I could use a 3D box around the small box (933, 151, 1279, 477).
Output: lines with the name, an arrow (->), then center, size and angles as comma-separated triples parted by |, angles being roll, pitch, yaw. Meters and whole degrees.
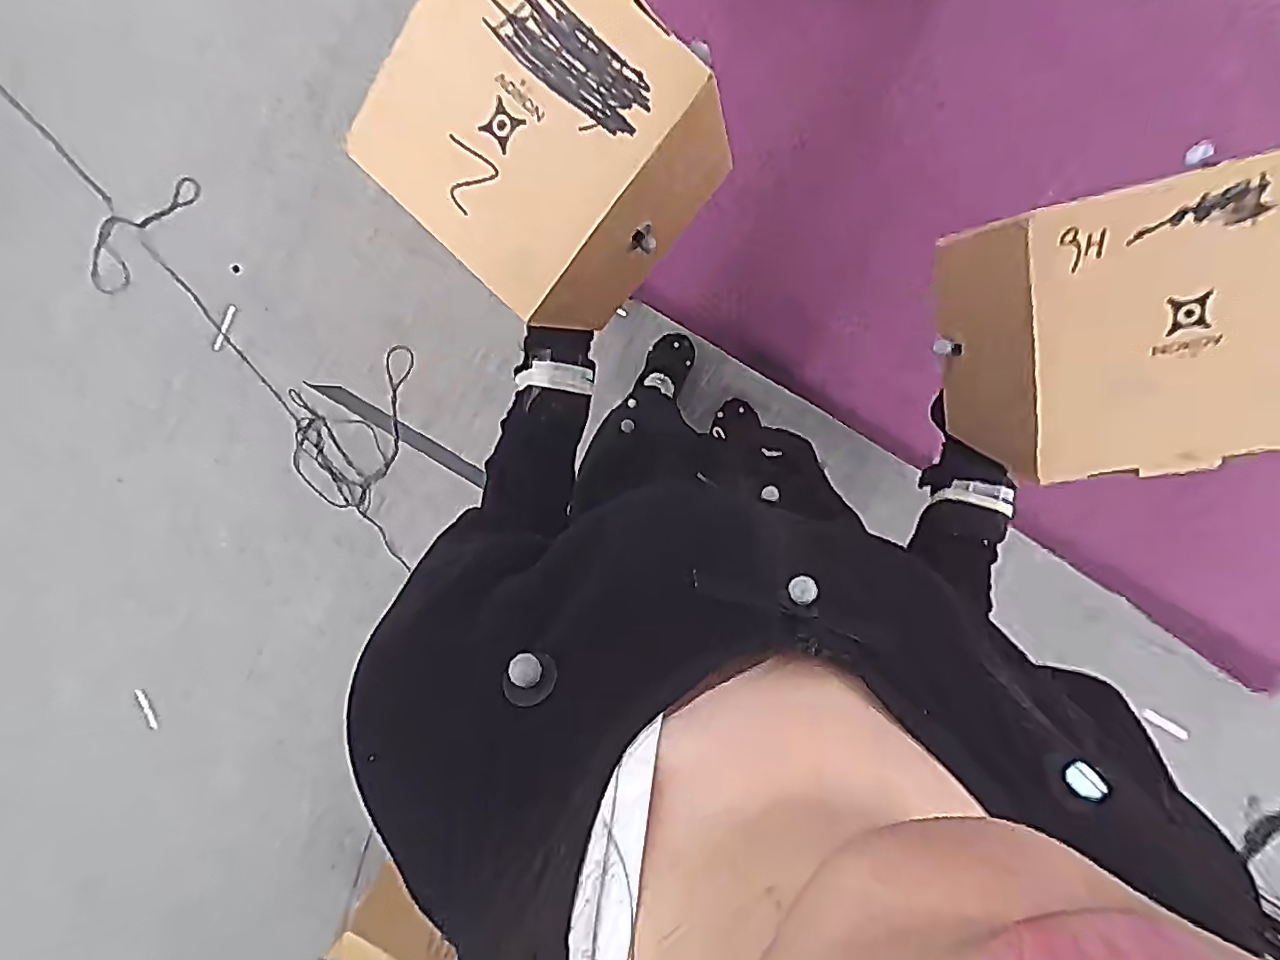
small box -> 0.339, -0.120, 0.406 | 0.168, 0.176, 0.179 | -10, 107, 11
